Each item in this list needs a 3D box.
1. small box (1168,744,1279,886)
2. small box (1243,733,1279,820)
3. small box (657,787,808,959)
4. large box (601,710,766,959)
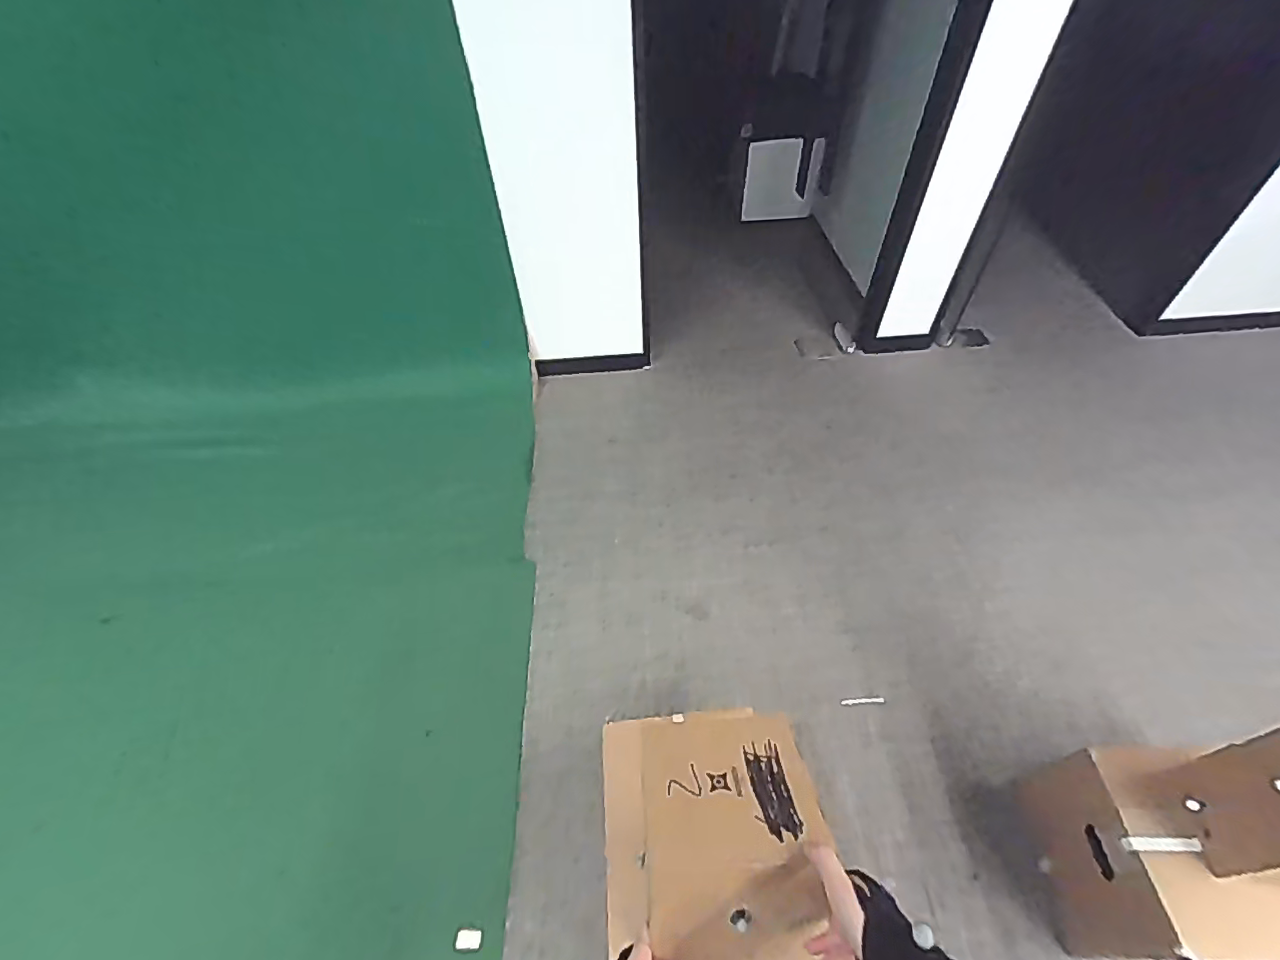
[{"bbox_3d":[1.042,0.548,0.877,0.179,0.176,0.168,3,47,5],"label":"small box"},{"bbox_3d":[1.038,0.440,0.753,0.179,0.176,0.168,3,47,6],"label":"small box"},{"bbox_3d":[0.110,0.529,0.720,0.168,0.176,0.179,-3,48,-1],"label":"small box"},{"bbox_3d":[0.099,0.733,1.085,0.320,0.320,0.408,-5,48,-2],"label":"large box"}]
